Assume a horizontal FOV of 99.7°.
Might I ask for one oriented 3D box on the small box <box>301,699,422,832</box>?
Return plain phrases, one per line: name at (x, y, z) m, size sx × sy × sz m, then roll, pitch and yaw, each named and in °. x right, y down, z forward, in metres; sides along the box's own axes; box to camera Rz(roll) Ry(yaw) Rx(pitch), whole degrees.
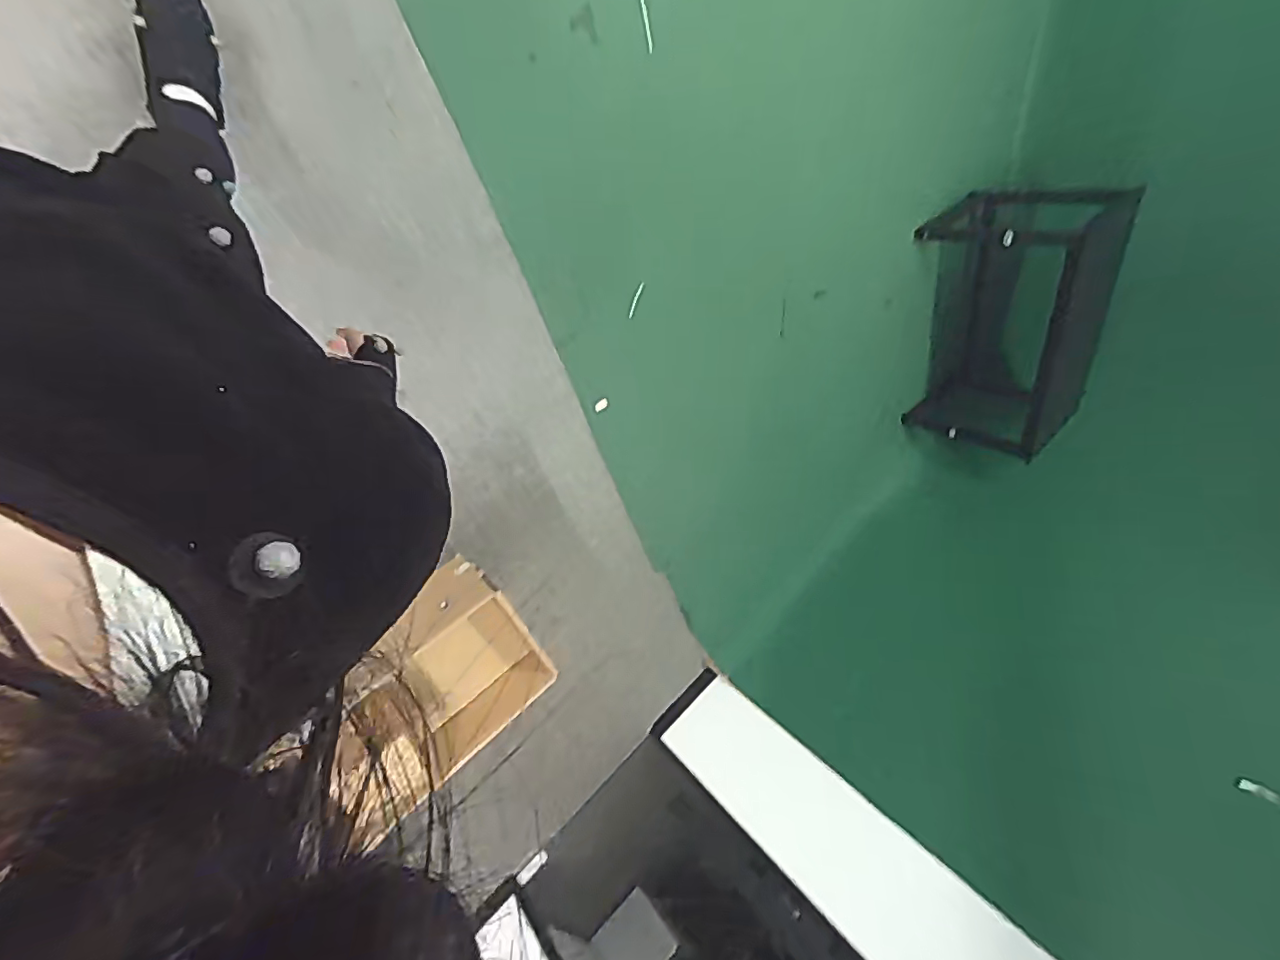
small box at (-0.622, 0.625, 1.208) m, size 0.168 × 0.176 × 0.179 m, roll -31°, pitch 129°, yaw -29°
